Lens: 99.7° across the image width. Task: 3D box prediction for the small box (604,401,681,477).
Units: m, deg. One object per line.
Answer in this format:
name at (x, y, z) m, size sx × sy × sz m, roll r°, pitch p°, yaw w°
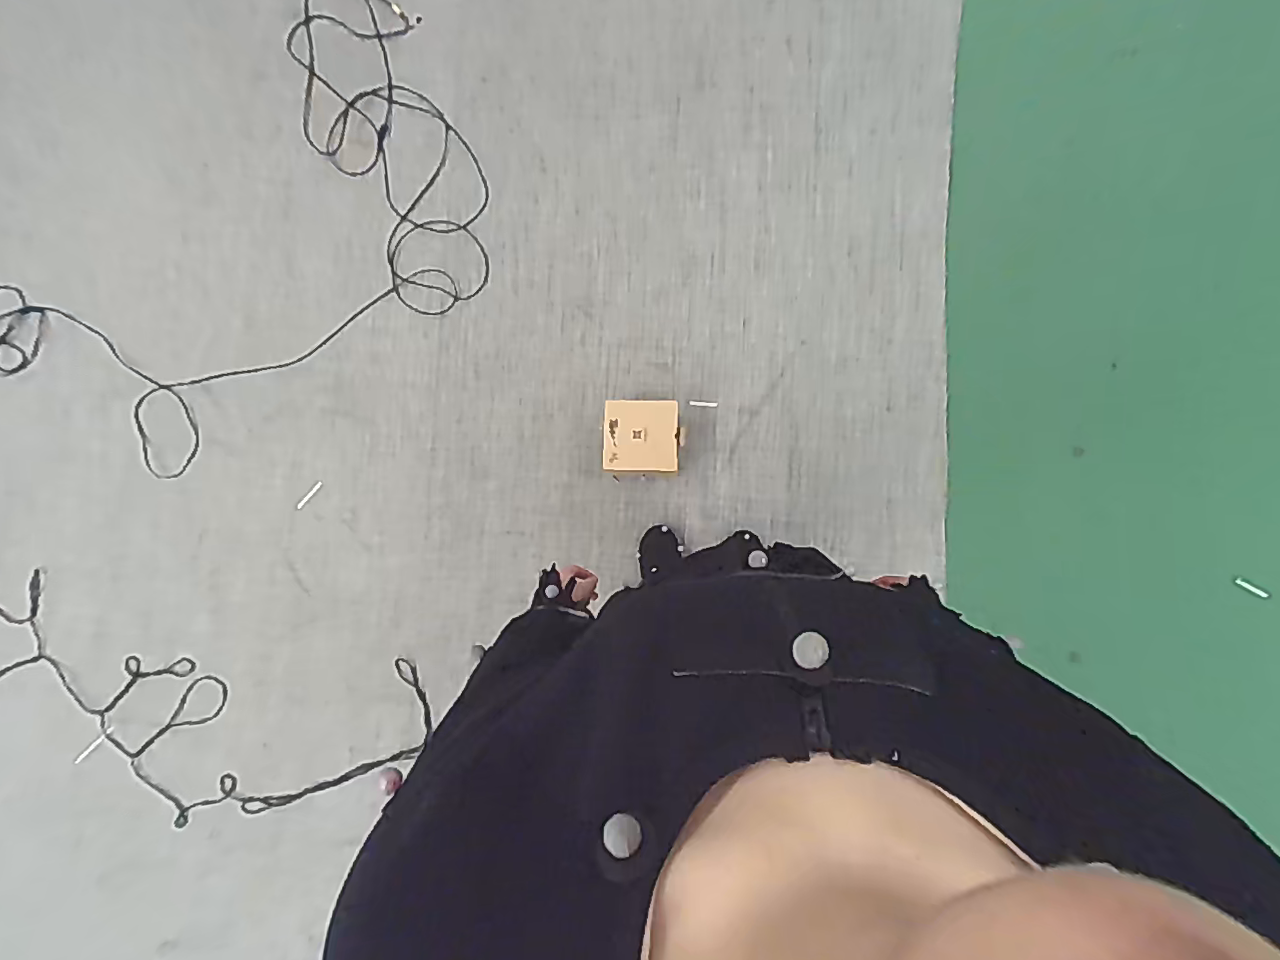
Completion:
small box at (0.010, -0.097, 1.329) m, size 0.179 × 0.176 × 0.168 m, roll 1°, pitch 86°, yaw 4°
